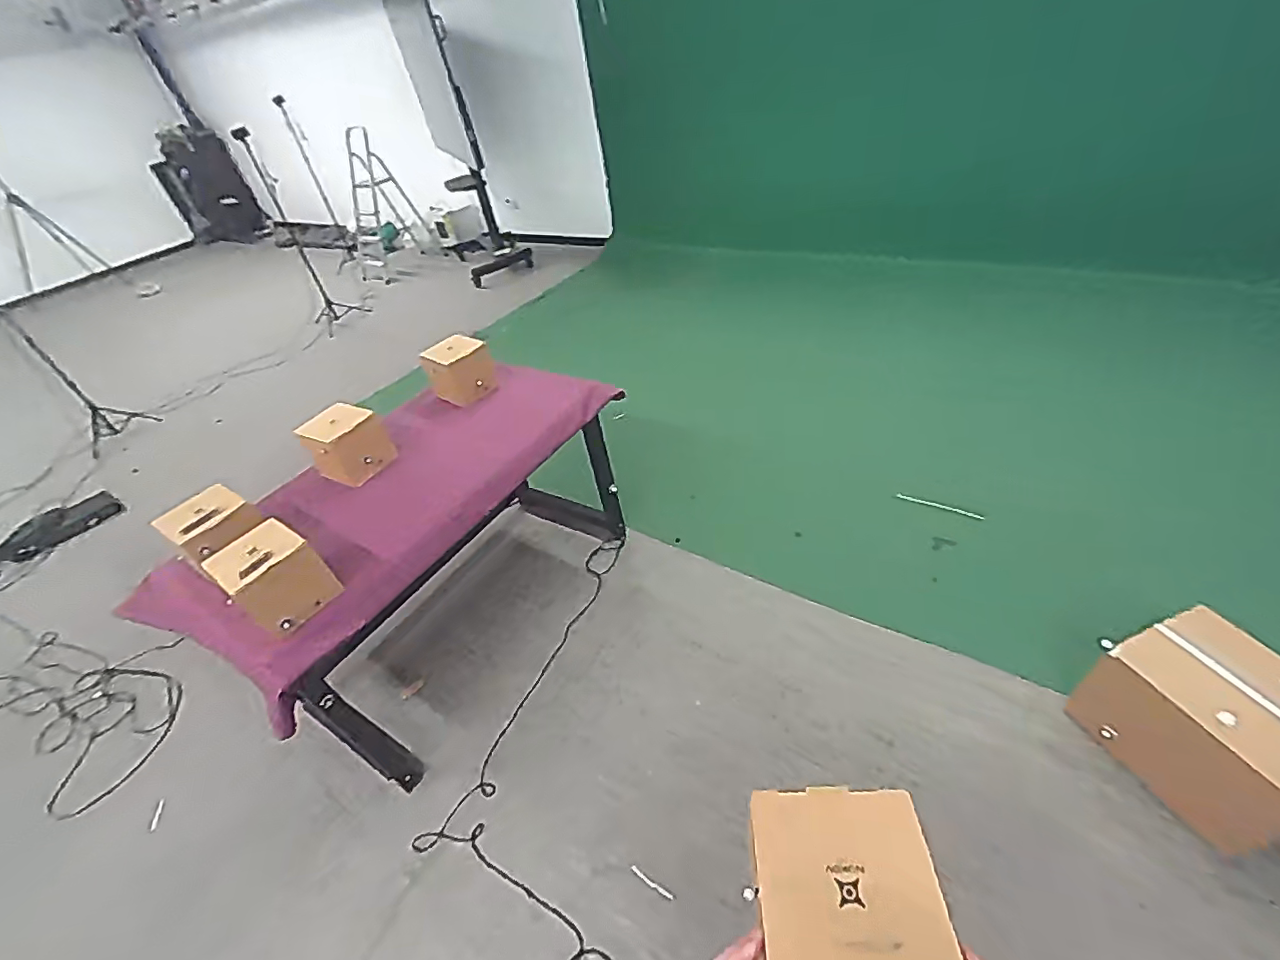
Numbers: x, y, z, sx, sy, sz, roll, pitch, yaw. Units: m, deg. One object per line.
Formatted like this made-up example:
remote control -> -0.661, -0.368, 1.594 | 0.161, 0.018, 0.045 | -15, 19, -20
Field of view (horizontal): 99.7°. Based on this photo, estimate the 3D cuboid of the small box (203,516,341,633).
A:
small box -> -0.814, 0.214, 1.212 | 0.179, 0.176, 0.168 | 19, 48, 33

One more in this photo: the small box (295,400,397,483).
small box -> -0.869, -0.114, 1.610 | 0.179, 0.176, 0.168 | 15, 46, 26

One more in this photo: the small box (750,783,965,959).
small box -> 0.205, 0.440, 0.555 | 0.168, 0.176, 0.179 | -4, 38, 6

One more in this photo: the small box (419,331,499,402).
small box -> -0.621, -0.389, 1.868 | 0.179, 0.176, 0.168 | 24, 52, 33
